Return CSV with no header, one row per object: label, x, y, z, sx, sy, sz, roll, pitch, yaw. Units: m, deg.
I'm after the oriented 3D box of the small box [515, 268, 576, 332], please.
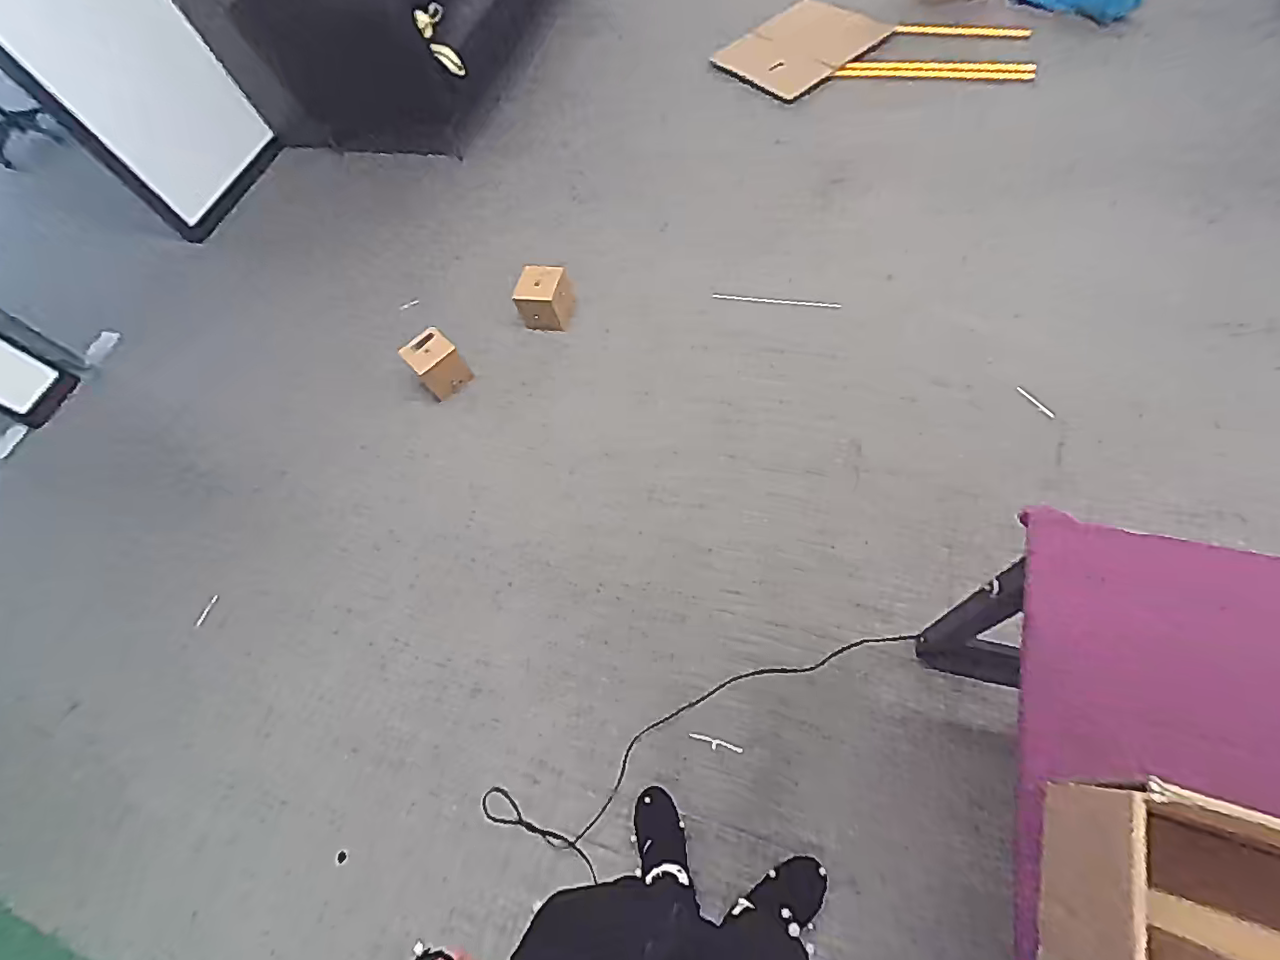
small box,-0.367,-0.710,2.142,0.168,0.176,0.179,9,65,14
